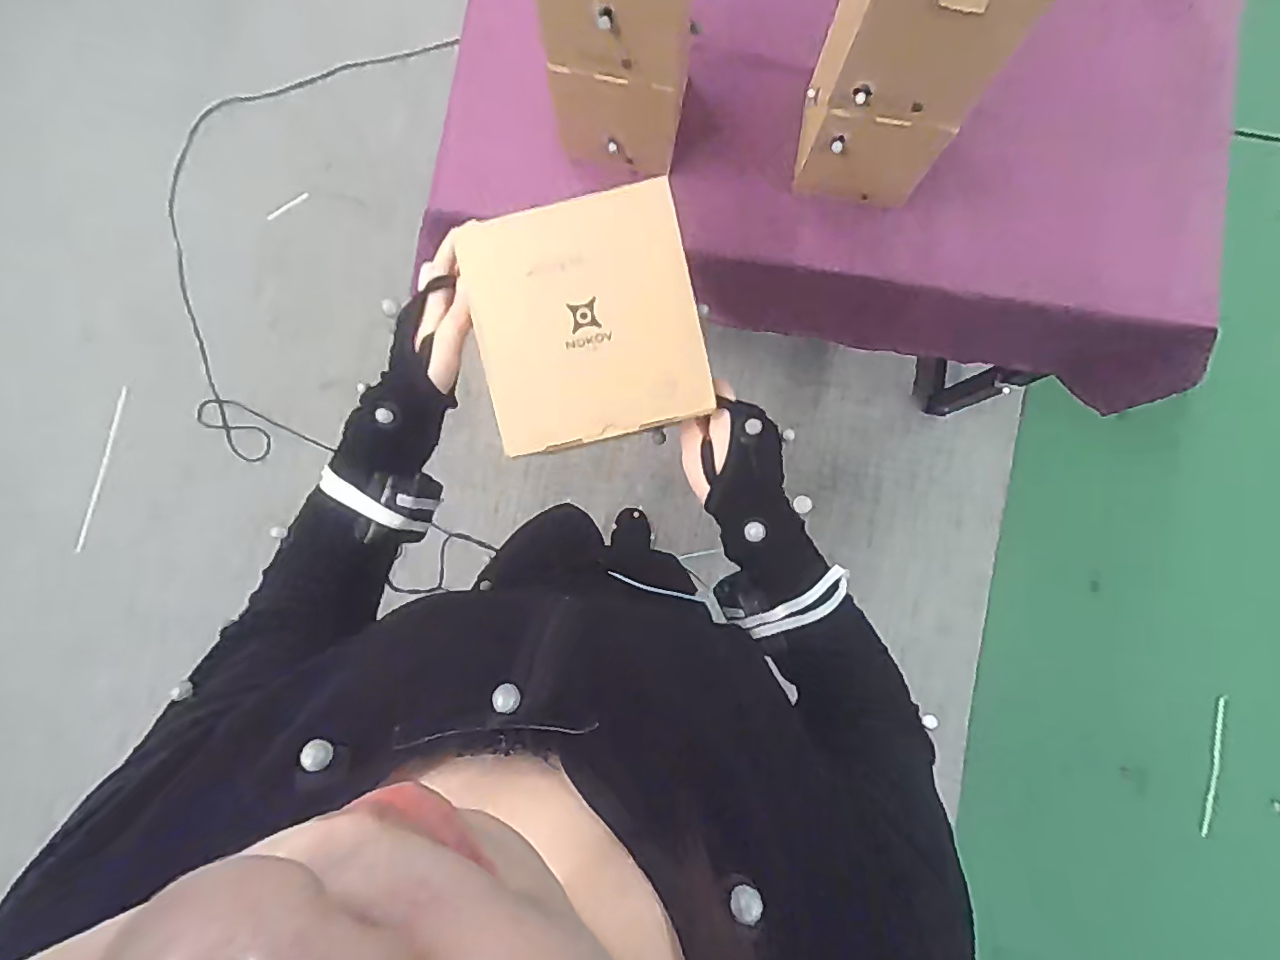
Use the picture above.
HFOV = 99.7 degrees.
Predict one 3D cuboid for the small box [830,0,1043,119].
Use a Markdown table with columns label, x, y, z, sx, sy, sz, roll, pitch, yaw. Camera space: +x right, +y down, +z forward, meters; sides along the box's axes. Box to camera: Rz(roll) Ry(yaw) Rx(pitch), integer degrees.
| label | x | y | z | sx | sy | sz | roll | pitch | yaw |
| --- | --- | --- | --- | --- | --- | --- | --- | --- | --- |
| small box | 0.321 | -0.538 | 0.591 | 0.168 | 0.176 | 0.179 | 9 | 84 | 1 |

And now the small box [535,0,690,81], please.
| label | x | y | z | sx | sy | sz | roll | pitch | yaw |
| --- | --- | --- | --- | --- | --- | --- | --- | --- | --- |
| small box | -0.022 | -0.593 | 0.598 | 0.168 | 0.176 | 0.179 | 10 | 85 | 1 |

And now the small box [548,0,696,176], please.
| label | x | y | z | sx | sy | sz | roll | pitch | yaw |
| --- | --- | --- | --- | --- | --- | --- | --- | --- | --- |
| small box | -0.021 | -0.573 | 0.762 | 0.168 | 0.176 | 0.179 | 10 | 85 | 2 |
